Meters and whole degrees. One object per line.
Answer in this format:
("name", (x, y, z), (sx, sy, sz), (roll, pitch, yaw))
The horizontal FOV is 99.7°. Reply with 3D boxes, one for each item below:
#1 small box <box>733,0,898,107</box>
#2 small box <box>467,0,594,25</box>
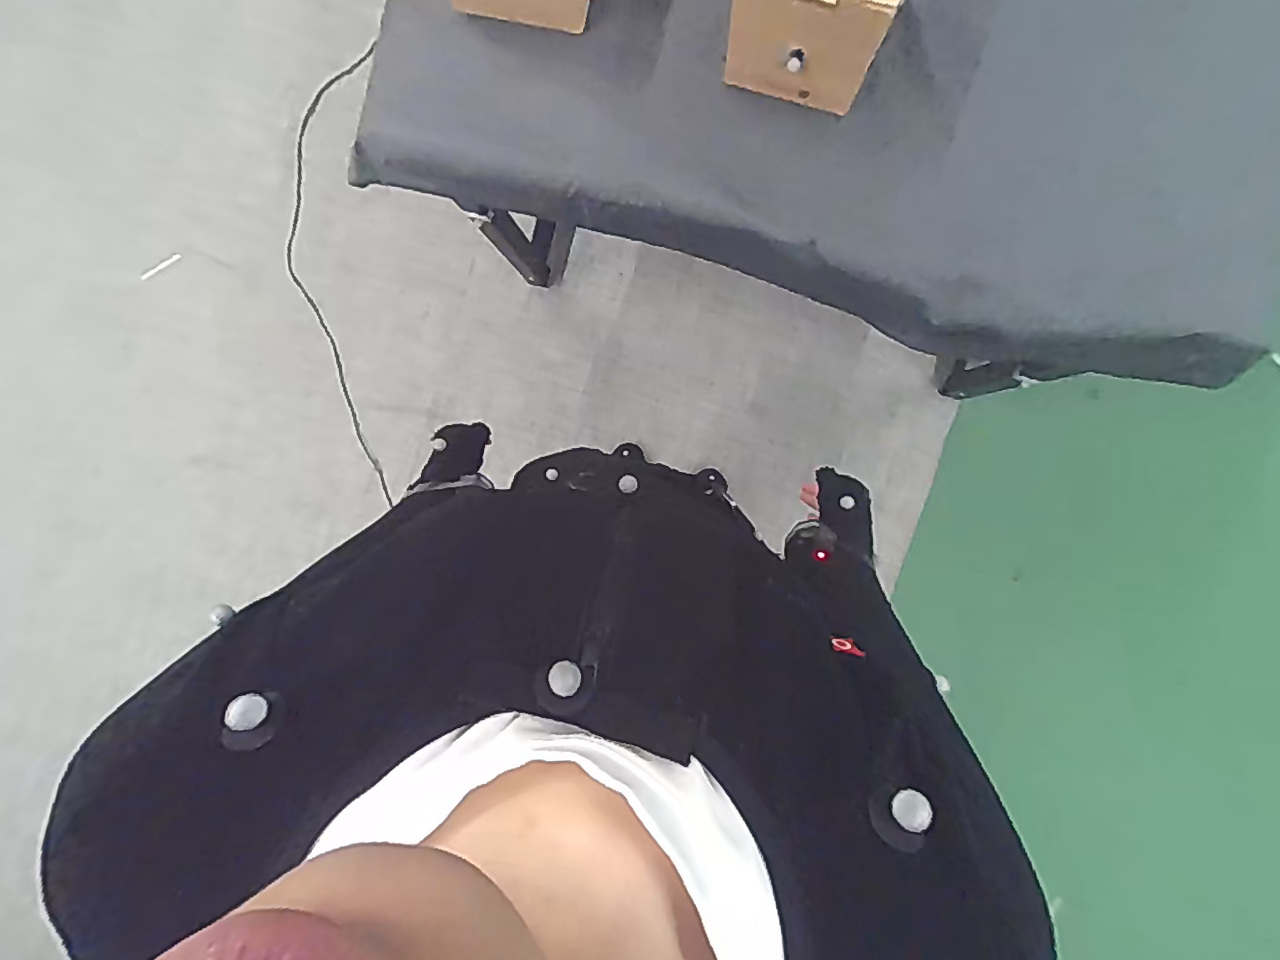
("small box", (0.211, -0.573, 0.615), (0.168, 0.176, 0.179), (18, 95, 4))
("small box", (-0.140, -0.689, 0.636), (0.179, 0.176, 0.168), (14, 94, 3))
